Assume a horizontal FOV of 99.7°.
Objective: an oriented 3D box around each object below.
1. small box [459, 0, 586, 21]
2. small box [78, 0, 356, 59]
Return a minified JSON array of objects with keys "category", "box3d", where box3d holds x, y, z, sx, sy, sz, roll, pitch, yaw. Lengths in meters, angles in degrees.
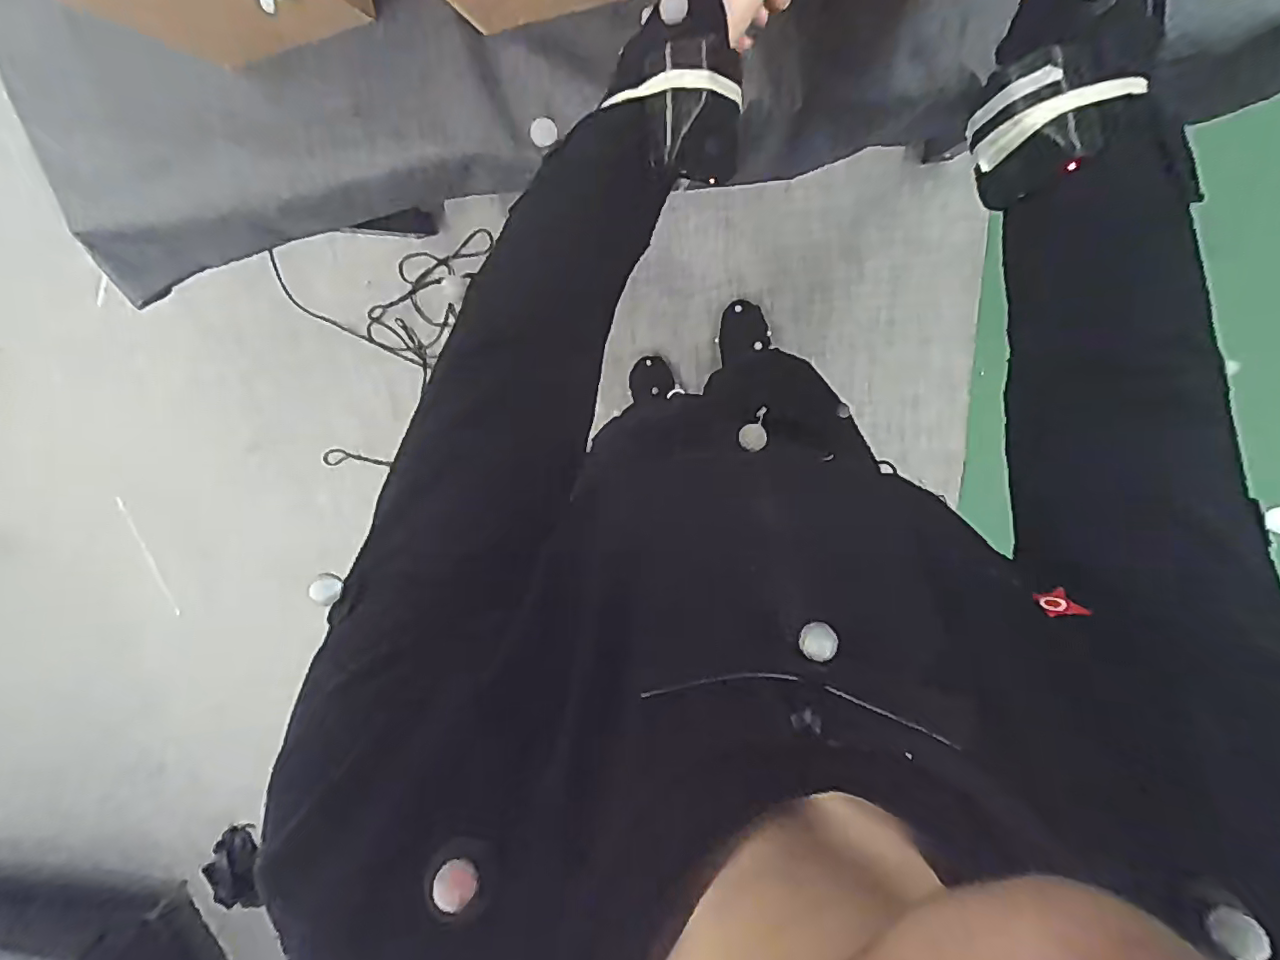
[{"category":"small box","box3d":[-0.090,-0.469,0.381,0.179,0.176,0.168,-4,110,11]},{"category":"small box","box3d":[-0.356,-0.476,0.427,0.179,0.176,0.168,-6,109,13]}]
